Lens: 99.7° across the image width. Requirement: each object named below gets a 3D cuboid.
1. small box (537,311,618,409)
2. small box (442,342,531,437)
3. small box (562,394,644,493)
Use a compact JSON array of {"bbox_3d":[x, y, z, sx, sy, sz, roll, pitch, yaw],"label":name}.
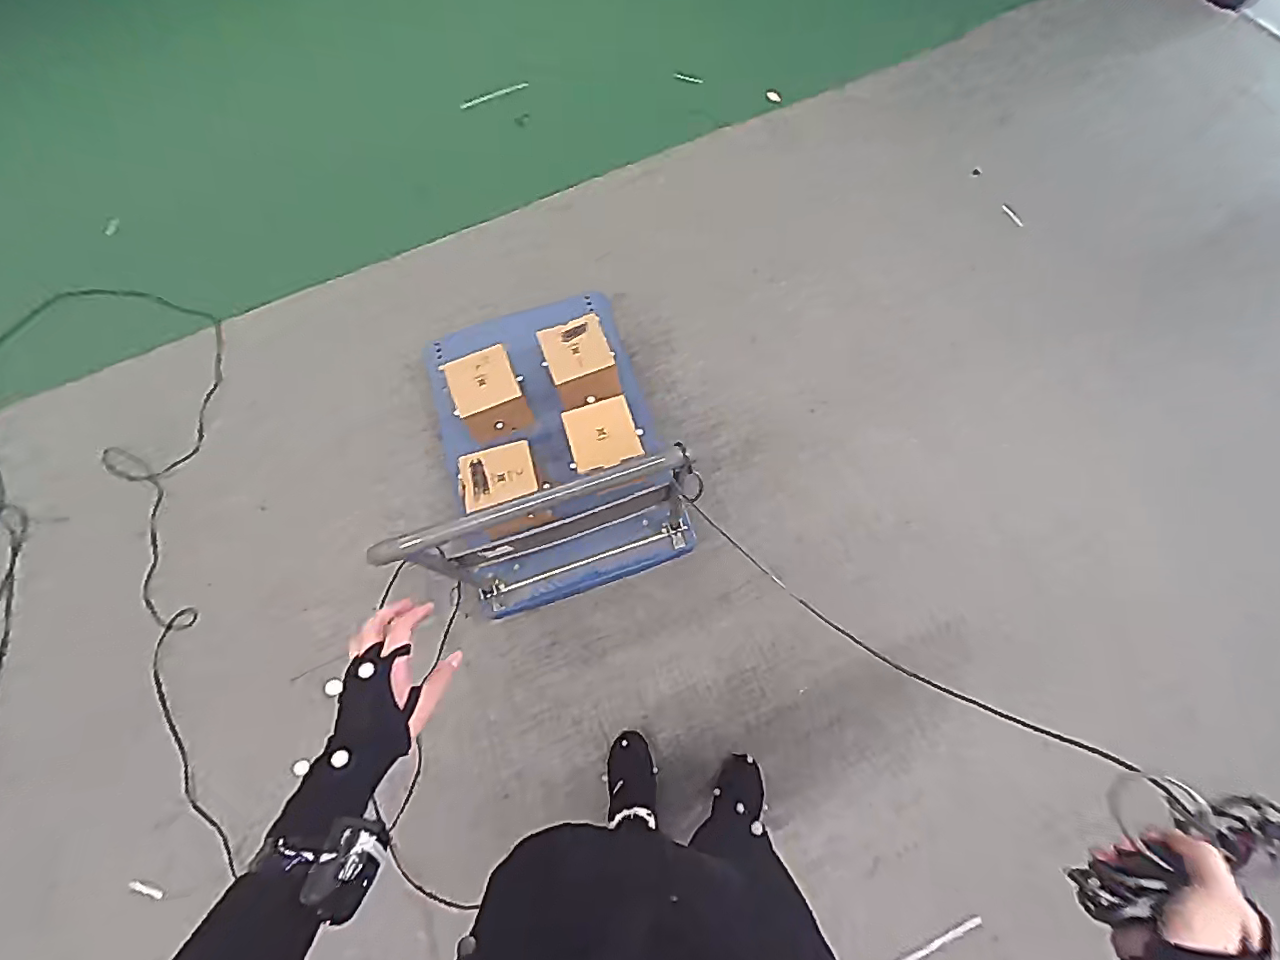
[{"bbox_3d":[-0.166,-0.322,1.478,0.168,0.176,0.179,-20,71,-4],"label":"small box"},{"bbox_3d":[-0.407,-0.234,1.459,0.168,0.176,0.179,-21,70,-6],"label":"small box"},{"bbox_3d":[-0.092,-0.089,1.393,0.168,0.176,0.179,-17,70,-3],"label":"small box"}]
